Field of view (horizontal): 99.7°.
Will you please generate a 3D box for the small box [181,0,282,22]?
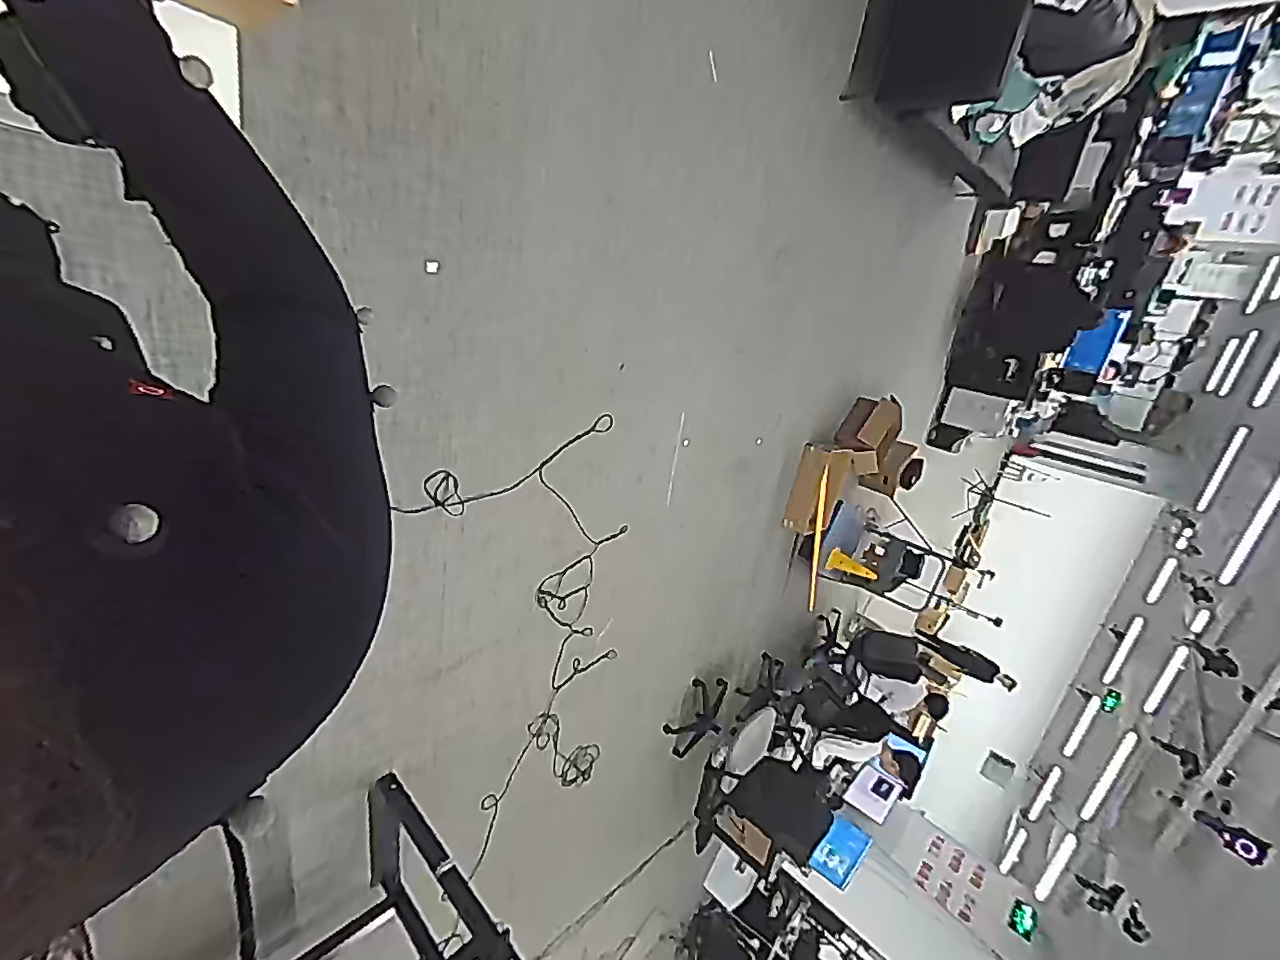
[{"bbox_3d":[-0.459,-0.587,0.521,0.179,0.176,0.168,-9,117,-48],"label":"small box"}]
